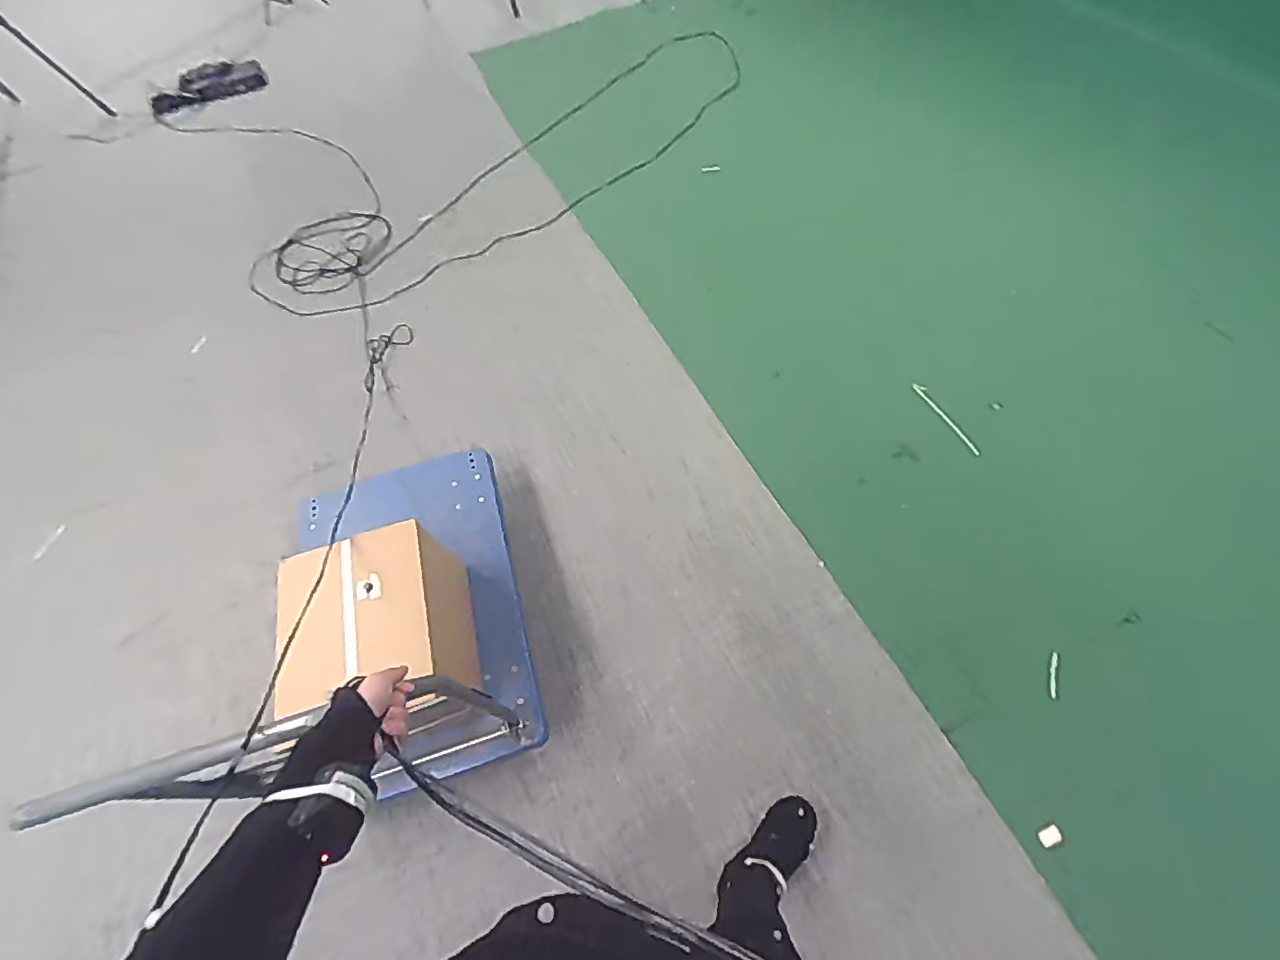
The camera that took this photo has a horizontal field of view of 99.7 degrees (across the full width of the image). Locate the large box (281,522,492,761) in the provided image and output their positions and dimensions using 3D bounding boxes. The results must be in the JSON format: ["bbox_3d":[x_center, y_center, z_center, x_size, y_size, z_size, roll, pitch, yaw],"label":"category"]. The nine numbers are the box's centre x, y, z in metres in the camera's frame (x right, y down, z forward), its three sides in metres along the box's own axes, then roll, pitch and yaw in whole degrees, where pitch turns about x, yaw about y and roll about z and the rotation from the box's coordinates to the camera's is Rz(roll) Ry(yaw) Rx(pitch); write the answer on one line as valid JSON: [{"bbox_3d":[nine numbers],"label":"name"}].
[{"bbox_3d":[-0.565,0.374,1.231,0.320,0.320,0.408,-18,61,-5],"label":"large box"}]
